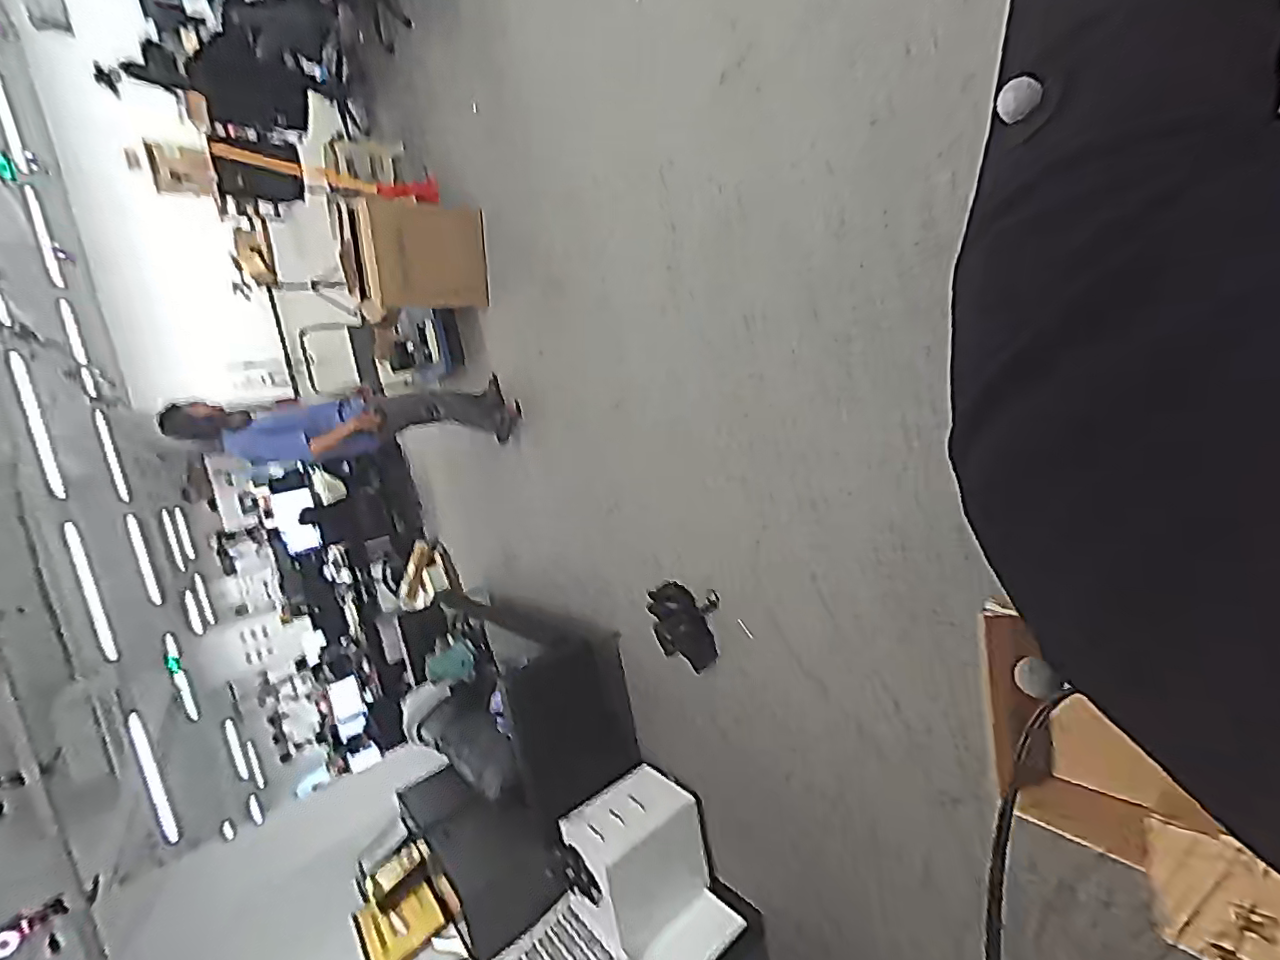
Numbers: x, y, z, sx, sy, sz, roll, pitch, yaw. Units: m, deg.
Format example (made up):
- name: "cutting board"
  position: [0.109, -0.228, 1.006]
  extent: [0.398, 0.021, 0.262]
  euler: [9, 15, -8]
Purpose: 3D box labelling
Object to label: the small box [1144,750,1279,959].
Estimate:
- name: "small box"
  position: [0.734, 0.461, 0.642]
  extent: [0.168, 0.176, 0.179]
  euler: [-2, 101, 56]
